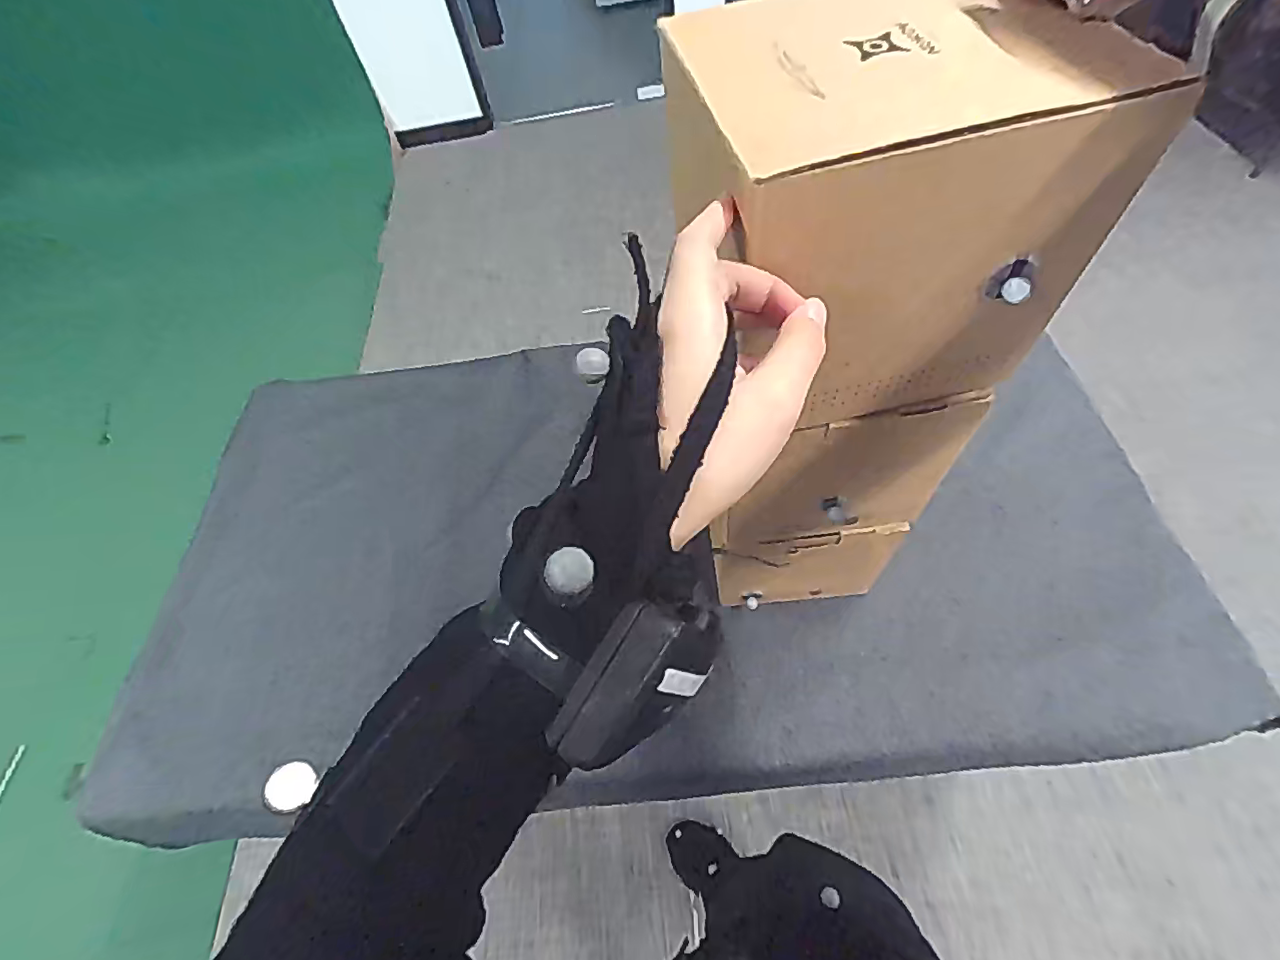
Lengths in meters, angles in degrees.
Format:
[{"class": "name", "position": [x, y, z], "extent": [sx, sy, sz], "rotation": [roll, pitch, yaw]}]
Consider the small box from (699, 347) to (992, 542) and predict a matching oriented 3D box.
[{"class": "small box", "position": [0.140, -0.070, 0.449], "extent": [0.168, 0.176, 0.179], "rotation": [-9, 58, 4]}]

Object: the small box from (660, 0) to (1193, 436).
[{"class": "small box", "position": [0.117, -0.149, 0.309], "extent": [0.179, 0.176, 0.168], "rotation": [-13, 57, 1]}]

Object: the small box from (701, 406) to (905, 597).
[{"class": "small box", "position": [0.159, 0.019, 0.587], "extent": [0.168, 0.176, 0.179], "rotation": [-6, 57, 4]}]
